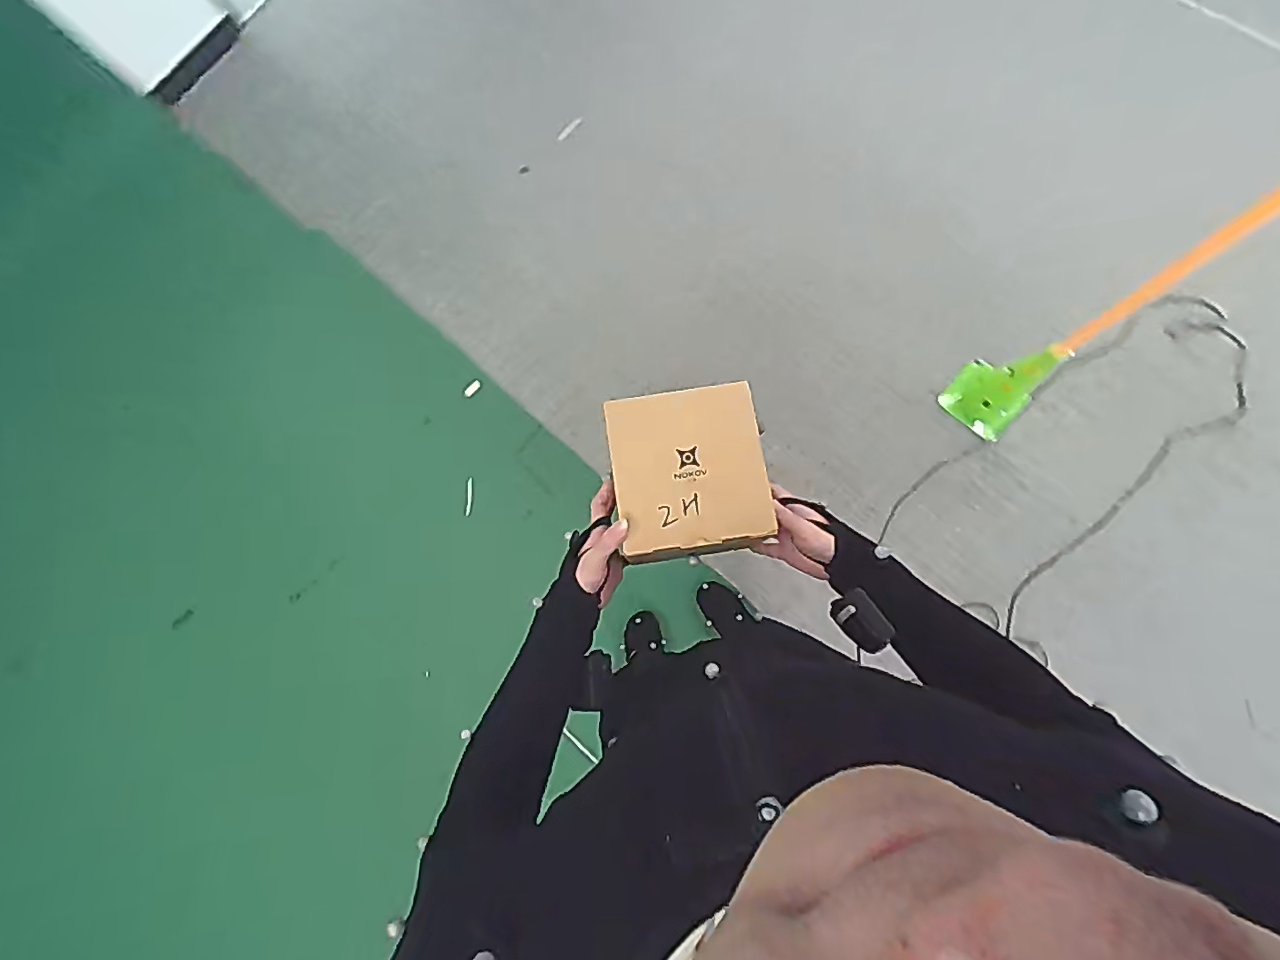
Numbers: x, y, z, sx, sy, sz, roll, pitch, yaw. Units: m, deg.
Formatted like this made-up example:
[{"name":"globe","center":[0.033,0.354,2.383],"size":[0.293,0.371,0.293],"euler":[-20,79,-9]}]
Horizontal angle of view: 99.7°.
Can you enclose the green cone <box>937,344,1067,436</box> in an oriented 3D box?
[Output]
[{"name":"green cone","center":[1.029,-0.286,1.491],"size":[0.202,0.368,0.200],"euler":[41,87,10]}]
